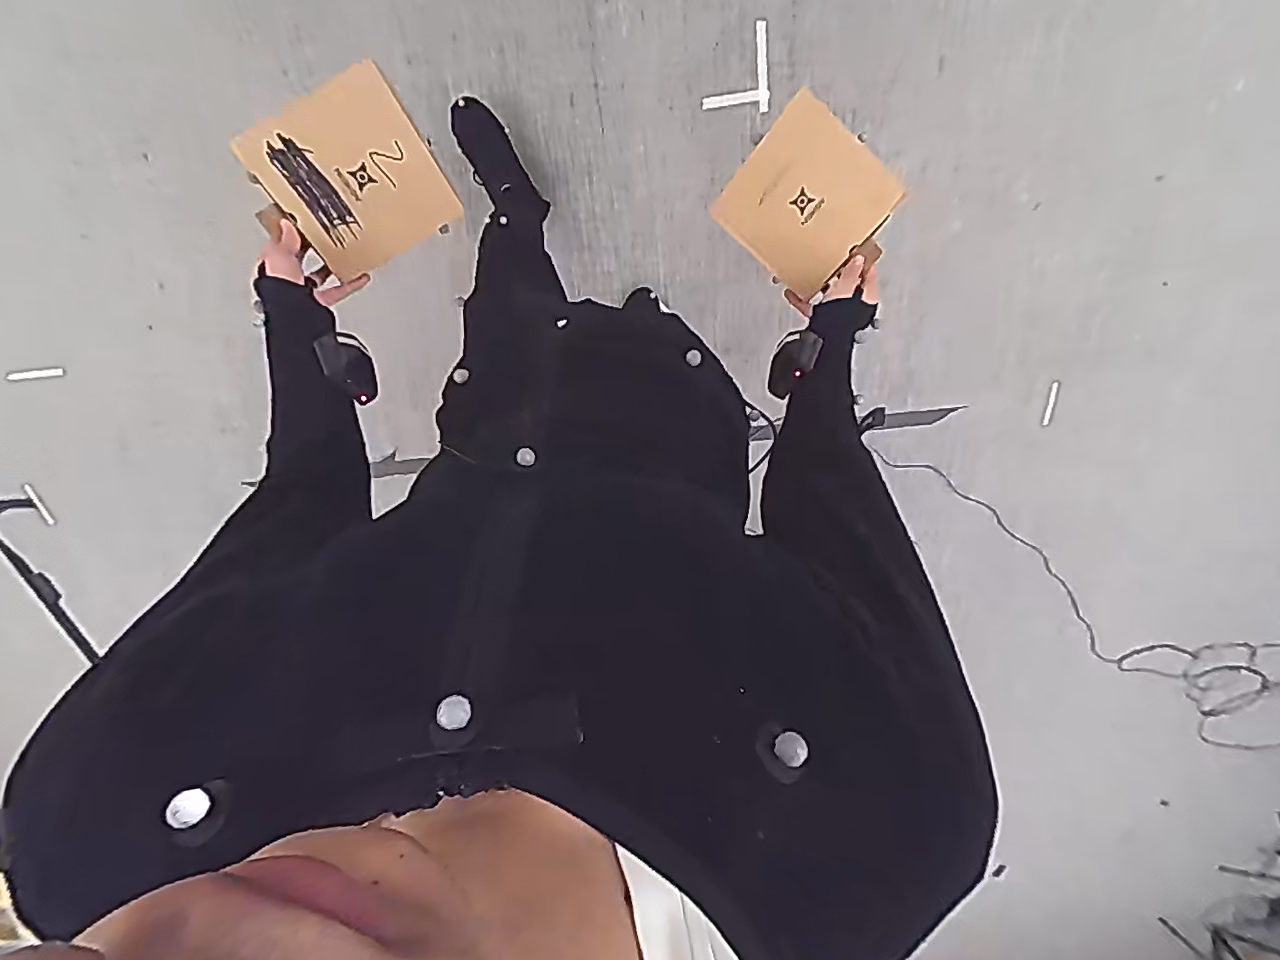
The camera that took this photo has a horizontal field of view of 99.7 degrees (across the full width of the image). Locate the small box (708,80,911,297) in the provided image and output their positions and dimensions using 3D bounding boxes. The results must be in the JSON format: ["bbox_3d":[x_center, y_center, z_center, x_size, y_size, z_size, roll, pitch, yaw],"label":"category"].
[{"bbox_3d":[0.215,-0.376,0.711,0.179,0.176,0.168,38,120,-8],"label":"small box"}]

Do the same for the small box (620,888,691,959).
[{"bbox_3d":[0.040,1.172,1.377,0.168,0.176,0.179,-7,117,1],"label":"small box"}]
